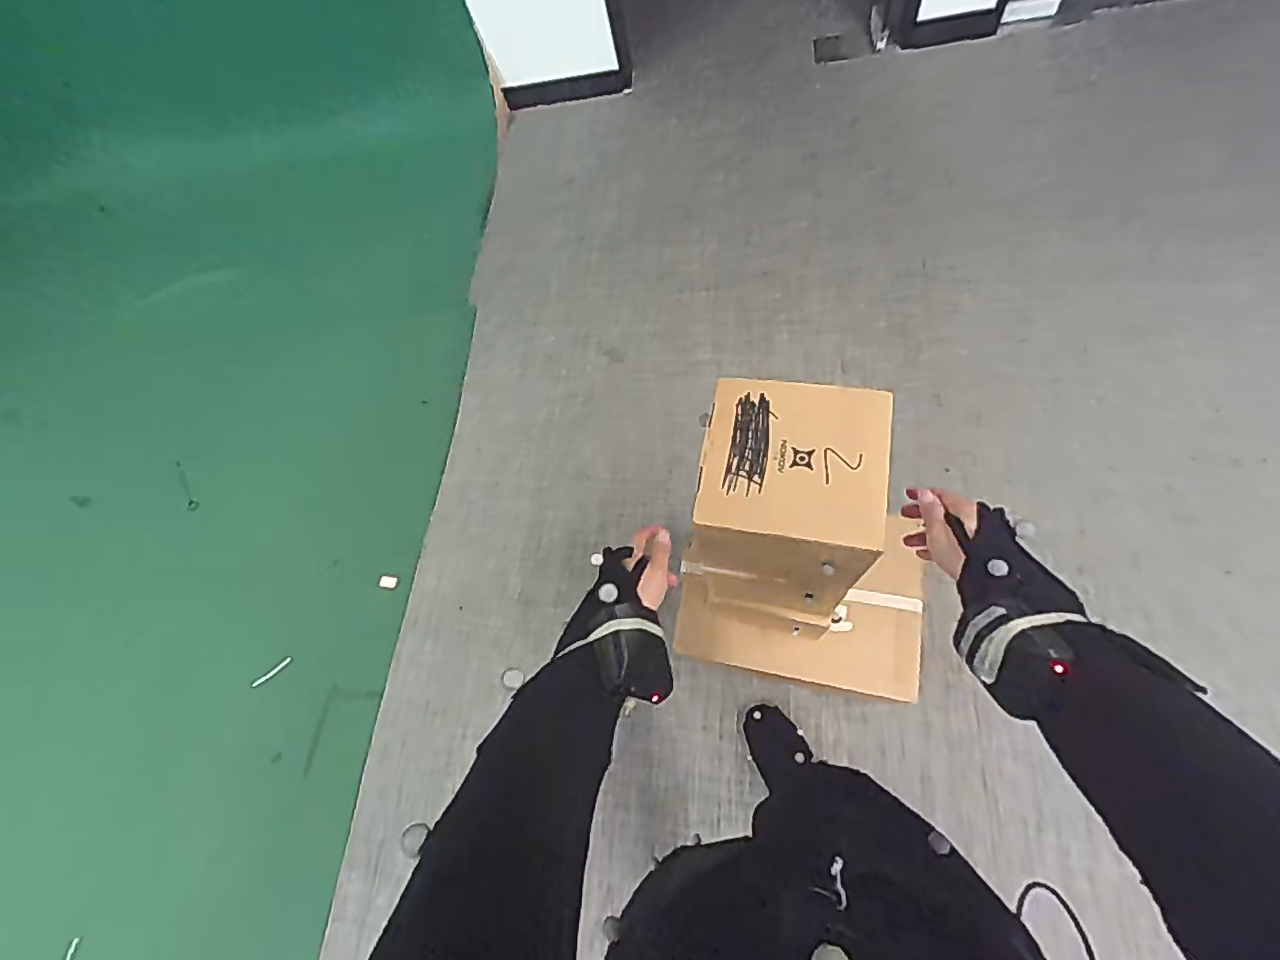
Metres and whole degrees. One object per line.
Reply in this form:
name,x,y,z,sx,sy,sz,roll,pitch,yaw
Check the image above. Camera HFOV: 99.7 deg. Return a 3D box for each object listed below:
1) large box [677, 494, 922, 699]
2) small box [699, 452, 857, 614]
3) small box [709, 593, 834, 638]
large box,0.306,0.243,1.092,0.408,0.320,0.320,7,71,13
small box,0.186,0.079,0.739,0.179,0.176,0.168,8,69,14
small box,0.219,0.154,0.880,0.179,0.176,0.168,8,69,16
